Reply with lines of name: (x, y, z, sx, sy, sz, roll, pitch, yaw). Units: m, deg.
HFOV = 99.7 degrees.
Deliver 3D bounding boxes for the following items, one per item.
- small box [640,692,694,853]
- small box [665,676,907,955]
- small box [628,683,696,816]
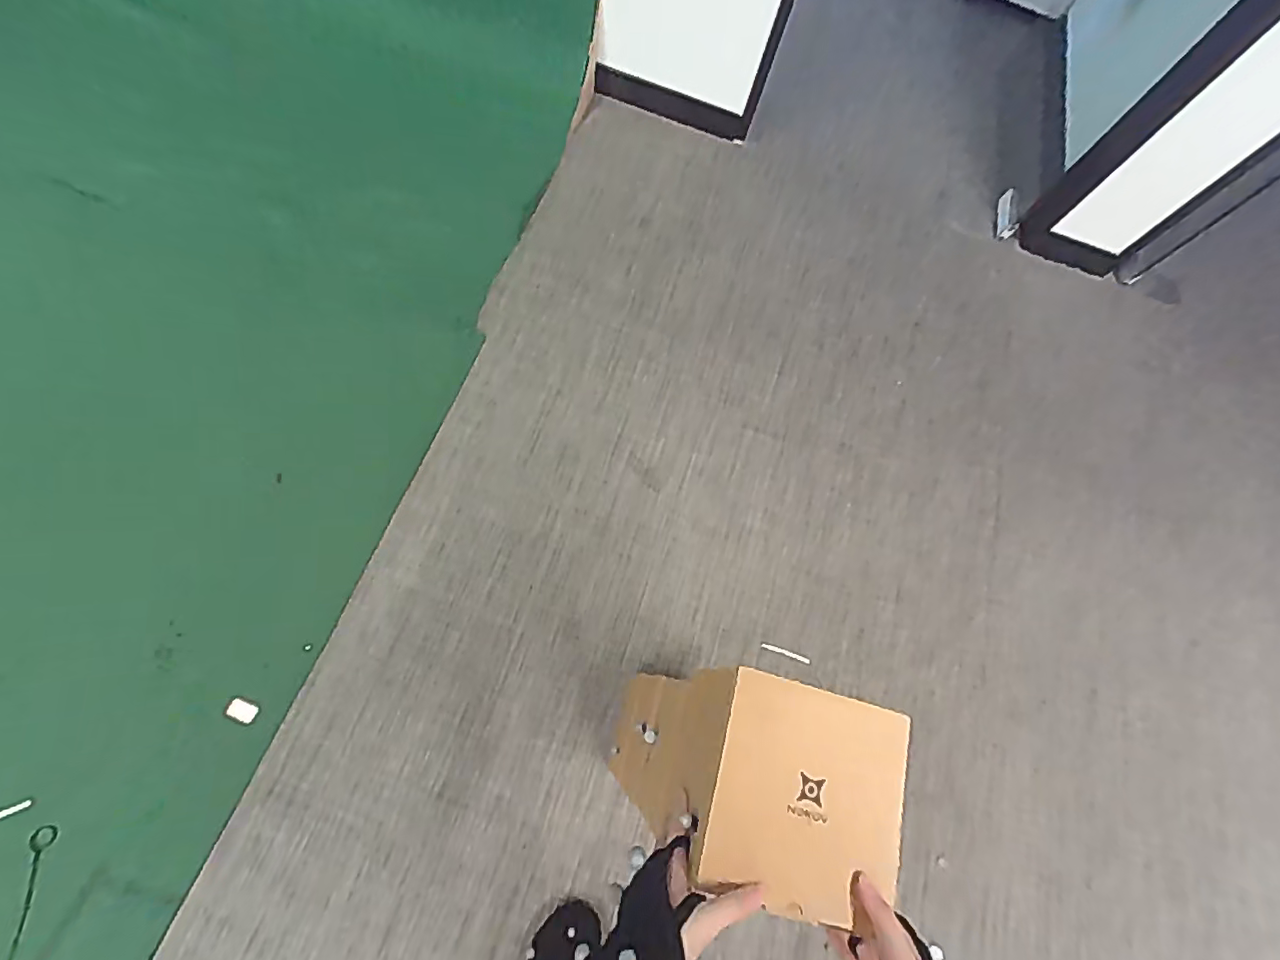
small box: (0.112, 0.372, 0.680, 0.179, 0.176, 0.168, 17, 68, -1)
small box: (0.132, 0.303, 0.531, 0.168, 0.176, 0.179, 17, 69, -2)
small box: (0.083, 0.422, 0.834, 0.168, 0.176, 0.179, 15, 69, -2)
